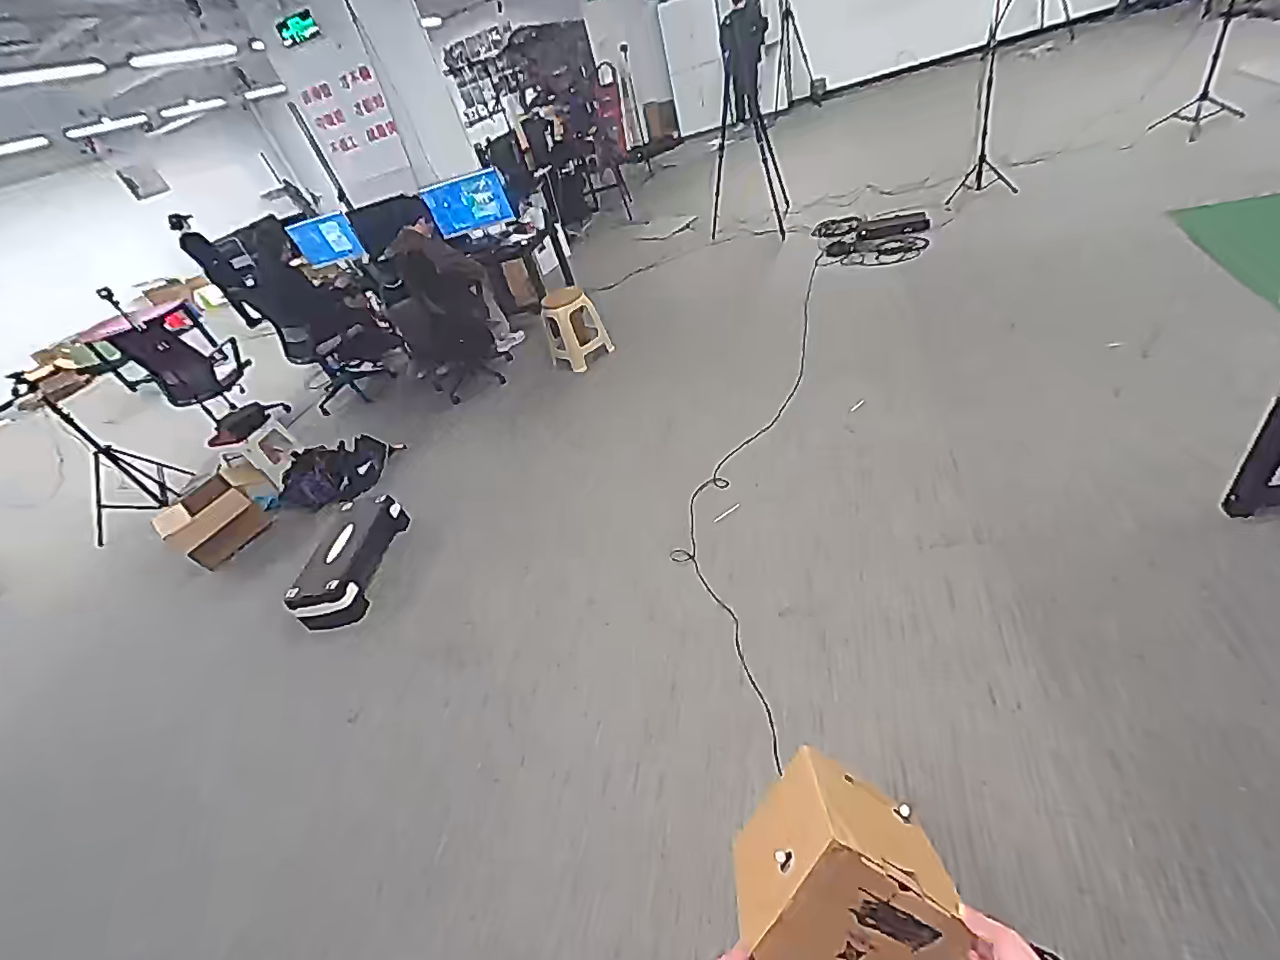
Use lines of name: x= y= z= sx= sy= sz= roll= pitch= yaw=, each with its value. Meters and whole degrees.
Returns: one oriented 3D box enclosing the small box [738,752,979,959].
small box: x=0.223 y=0.454 z=0.611 sx=0.168 sy=0.176 sz=0.179 roll=31 pitch=96 yaw=4
